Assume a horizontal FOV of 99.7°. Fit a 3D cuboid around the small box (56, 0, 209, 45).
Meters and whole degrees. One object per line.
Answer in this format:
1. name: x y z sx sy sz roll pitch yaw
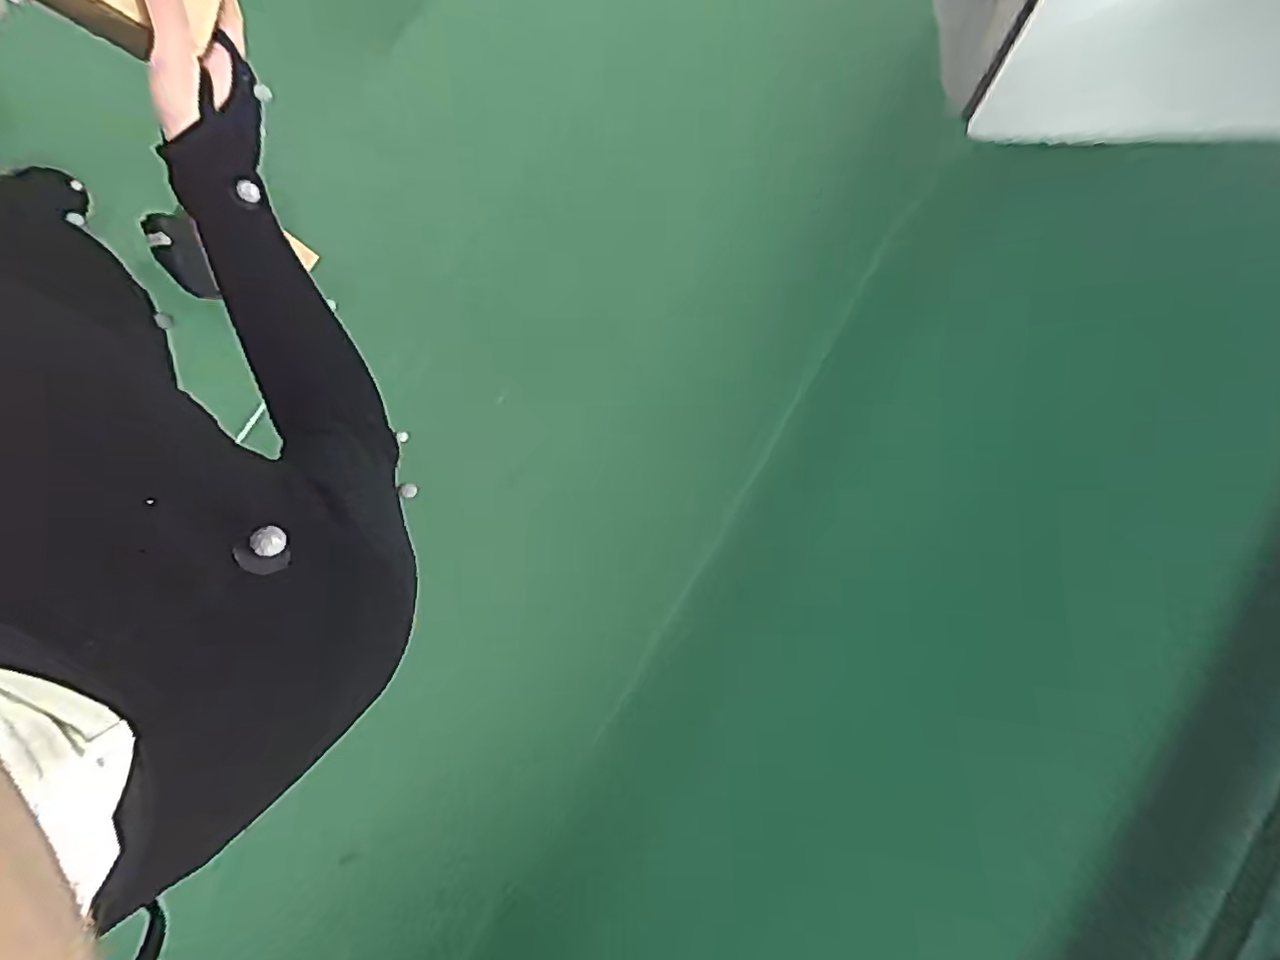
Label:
1. small box: -0.400 -0.441 0.361 0.168 0.176 0.179 8 108 -57
